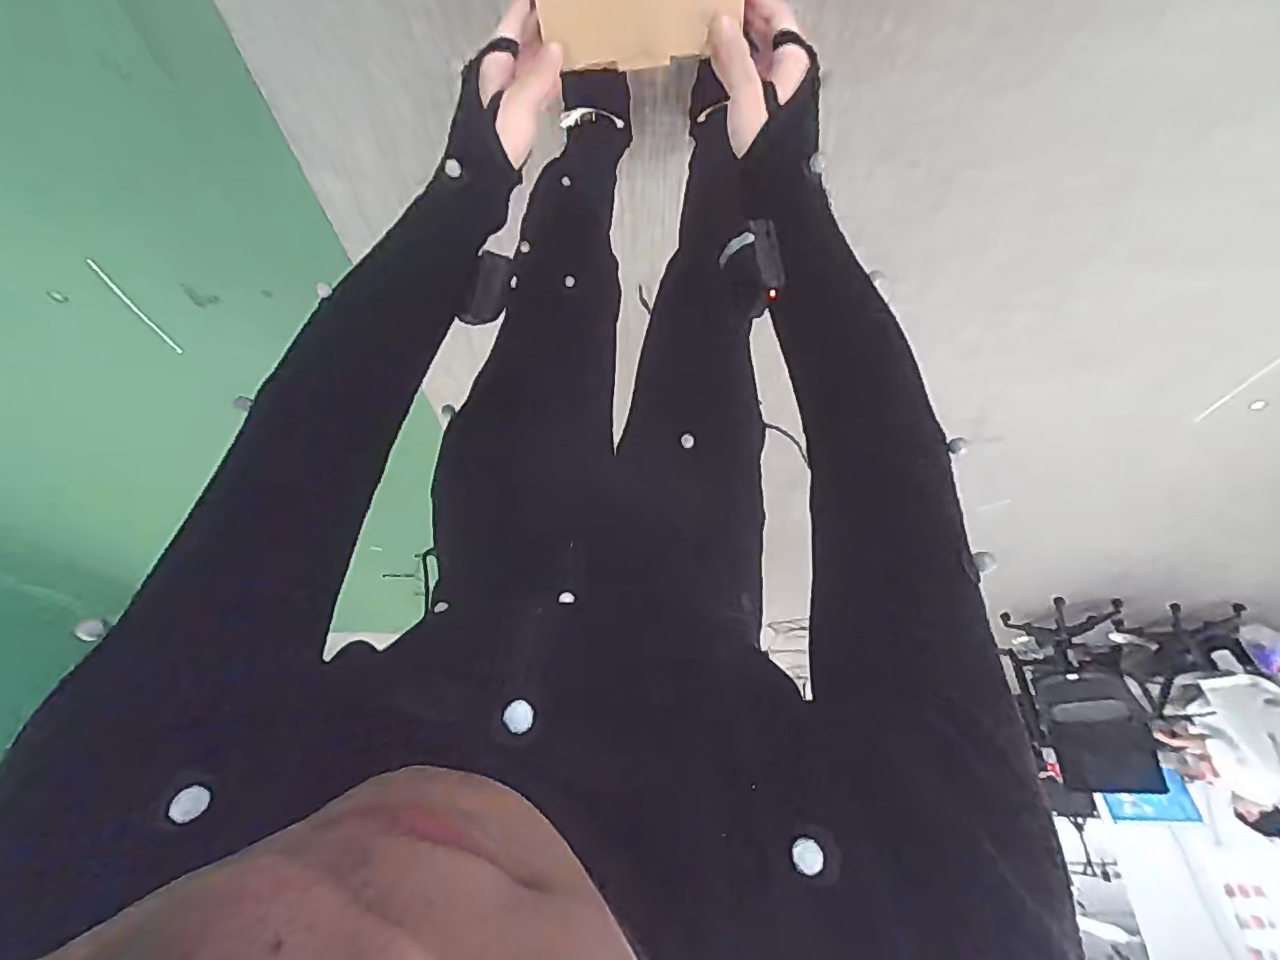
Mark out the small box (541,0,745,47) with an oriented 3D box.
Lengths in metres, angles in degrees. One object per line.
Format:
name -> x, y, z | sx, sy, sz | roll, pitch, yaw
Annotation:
small box -> 0.004, -0.479, 0.424 | 0.168, 0.176, 0.179 | 0, 143, 7
